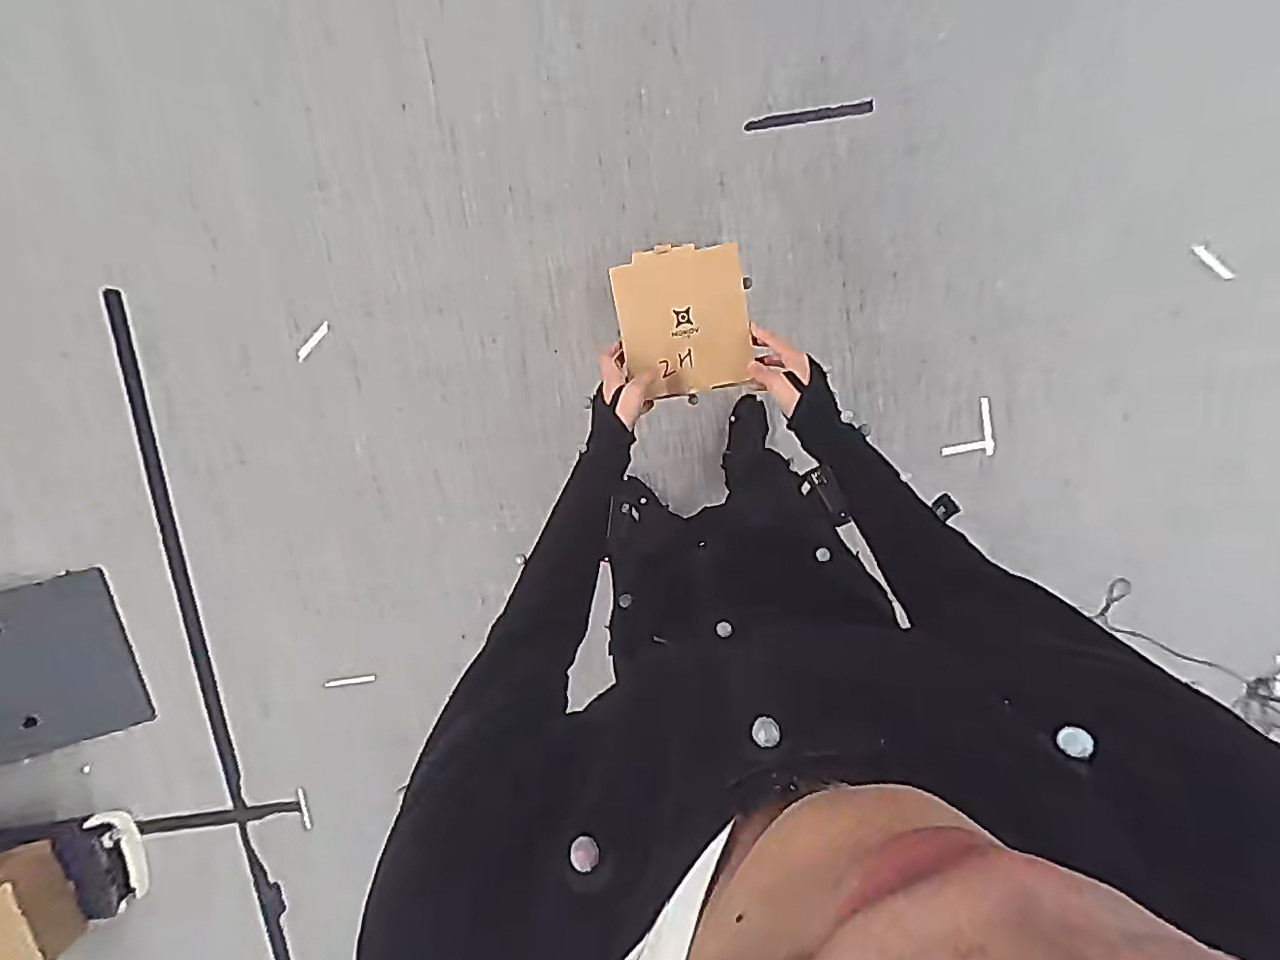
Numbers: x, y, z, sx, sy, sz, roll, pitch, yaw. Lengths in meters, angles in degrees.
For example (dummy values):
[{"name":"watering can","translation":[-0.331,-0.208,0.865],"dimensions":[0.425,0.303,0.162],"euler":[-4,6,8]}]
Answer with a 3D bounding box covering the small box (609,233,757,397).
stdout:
[{"name":"small box","translation":[0.059,-0.215,0.753],"dimensions":[0.168,0.176,0.179],"euler":[-10,97,6]}]
